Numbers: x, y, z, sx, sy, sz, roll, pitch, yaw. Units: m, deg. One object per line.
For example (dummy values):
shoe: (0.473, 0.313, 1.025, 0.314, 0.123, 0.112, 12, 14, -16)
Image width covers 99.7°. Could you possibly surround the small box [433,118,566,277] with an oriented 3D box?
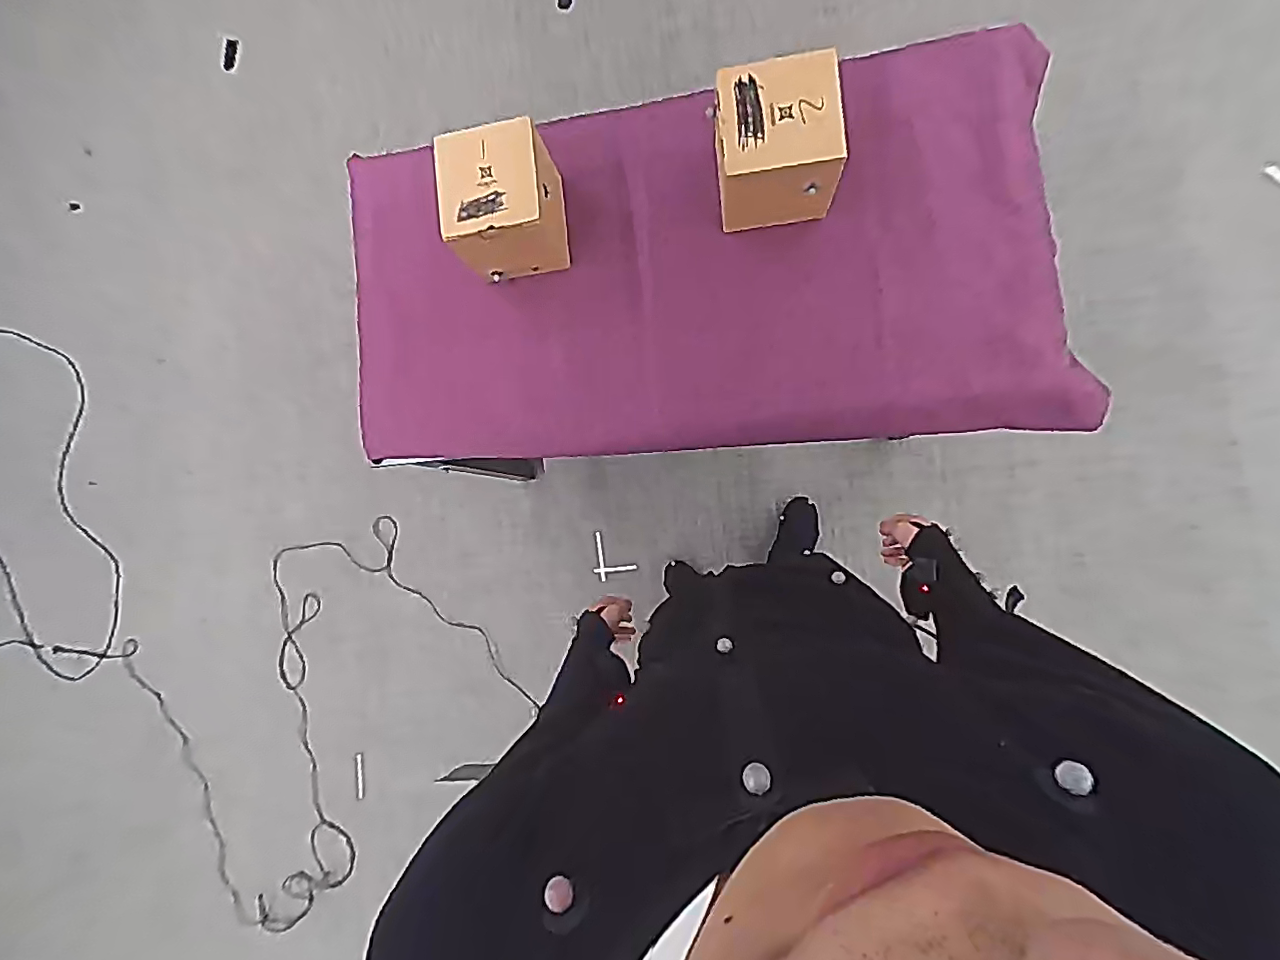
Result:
small box: (-0.232, -0.468, 0.930, 0.168, 0.176, 0.179, -7, 85, 8)
